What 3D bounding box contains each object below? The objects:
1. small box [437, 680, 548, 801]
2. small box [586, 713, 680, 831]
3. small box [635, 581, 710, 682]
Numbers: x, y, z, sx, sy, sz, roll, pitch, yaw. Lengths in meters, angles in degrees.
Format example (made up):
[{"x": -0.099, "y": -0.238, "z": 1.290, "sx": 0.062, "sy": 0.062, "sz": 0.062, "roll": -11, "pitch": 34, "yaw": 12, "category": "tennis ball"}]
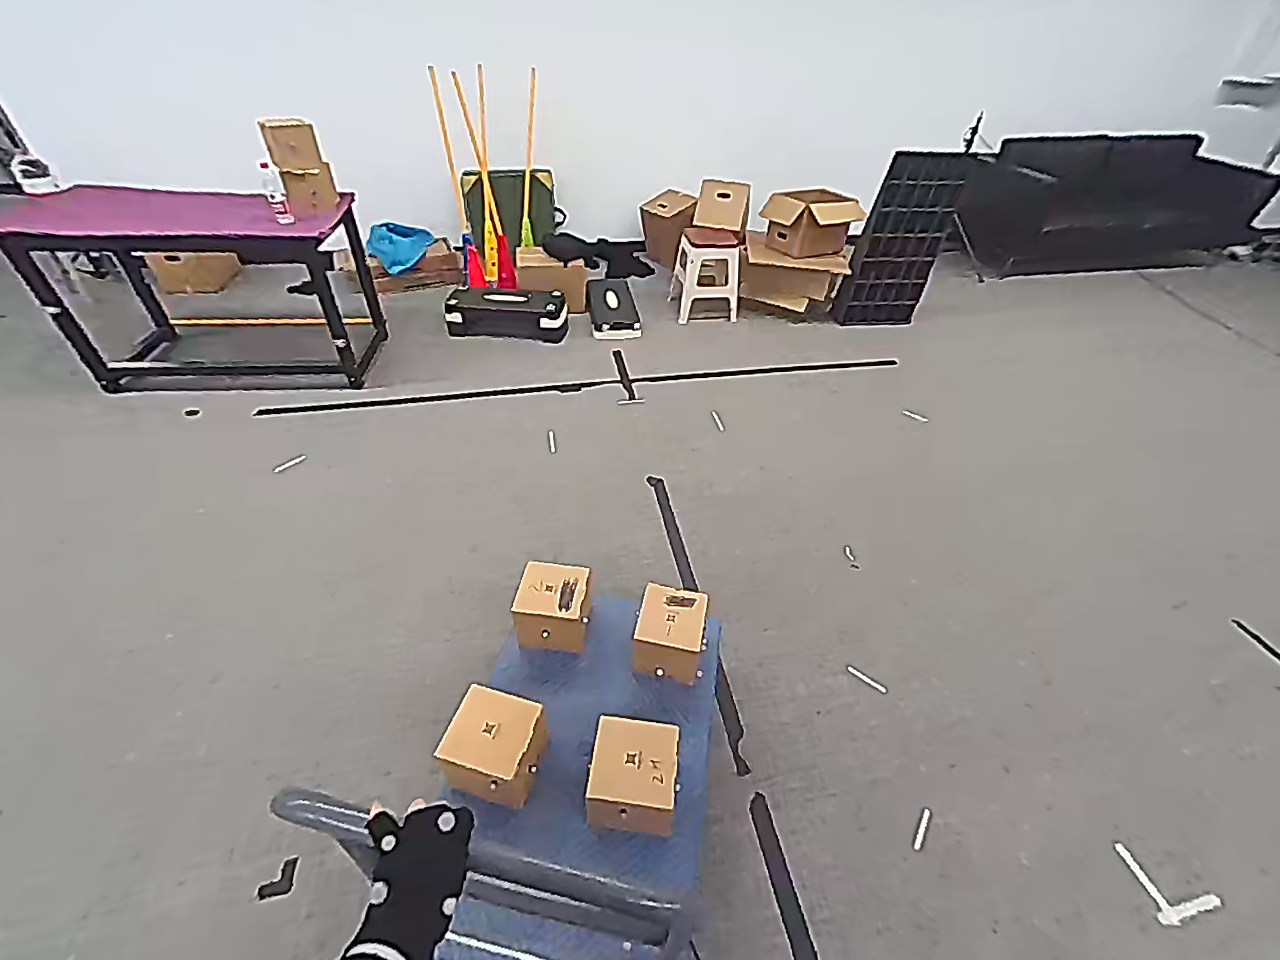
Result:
[{"x": -0.316, "y": 0.580, "z": 1.197, "sx": 0.179, "sy": 0.176, "sz": 0.168, "roll": 14, "pitch": 42, "yaw": 9, "category": "small box"}, {"x": -0.013, "y": 0.629, "z": 1.161, "sx": 0.179, "sy": 0.176, "sz": 0.168, "roll": 7, "pitch": 42, "yaw": 4, "category": "small box"}, {"x": 0.083, "y": 0.400, "z": 1.424, "sx": 0.168, "sy": 0.176, "sz": 0.179, "roll": 11, "pitch": 43, "yaw": 8, "category": "small box"}]
